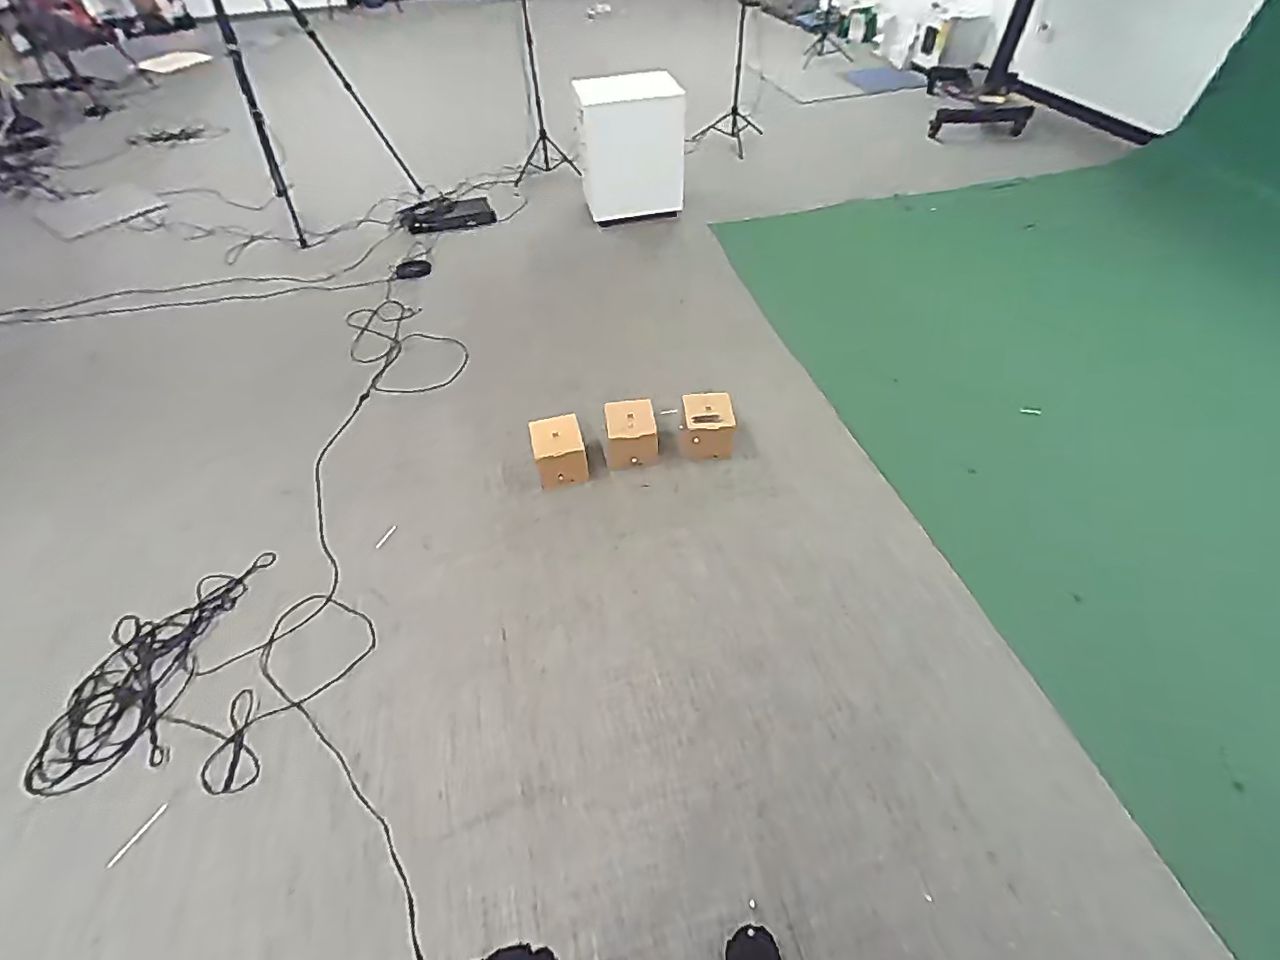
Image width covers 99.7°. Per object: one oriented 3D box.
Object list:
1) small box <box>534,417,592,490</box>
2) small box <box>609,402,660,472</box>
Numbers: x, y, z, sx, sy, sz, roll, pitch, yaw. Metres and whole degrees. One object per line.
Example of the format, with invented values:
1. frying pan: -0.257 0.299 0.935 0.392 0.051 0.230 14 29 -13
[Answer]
1. small box: -0.266 -0.091 1.876 0.168 0.176 0.179 -12 52 -7
2. small box: -0.020 -0.152 1.914 0.168 0.176 0.179 -6 51 -2
